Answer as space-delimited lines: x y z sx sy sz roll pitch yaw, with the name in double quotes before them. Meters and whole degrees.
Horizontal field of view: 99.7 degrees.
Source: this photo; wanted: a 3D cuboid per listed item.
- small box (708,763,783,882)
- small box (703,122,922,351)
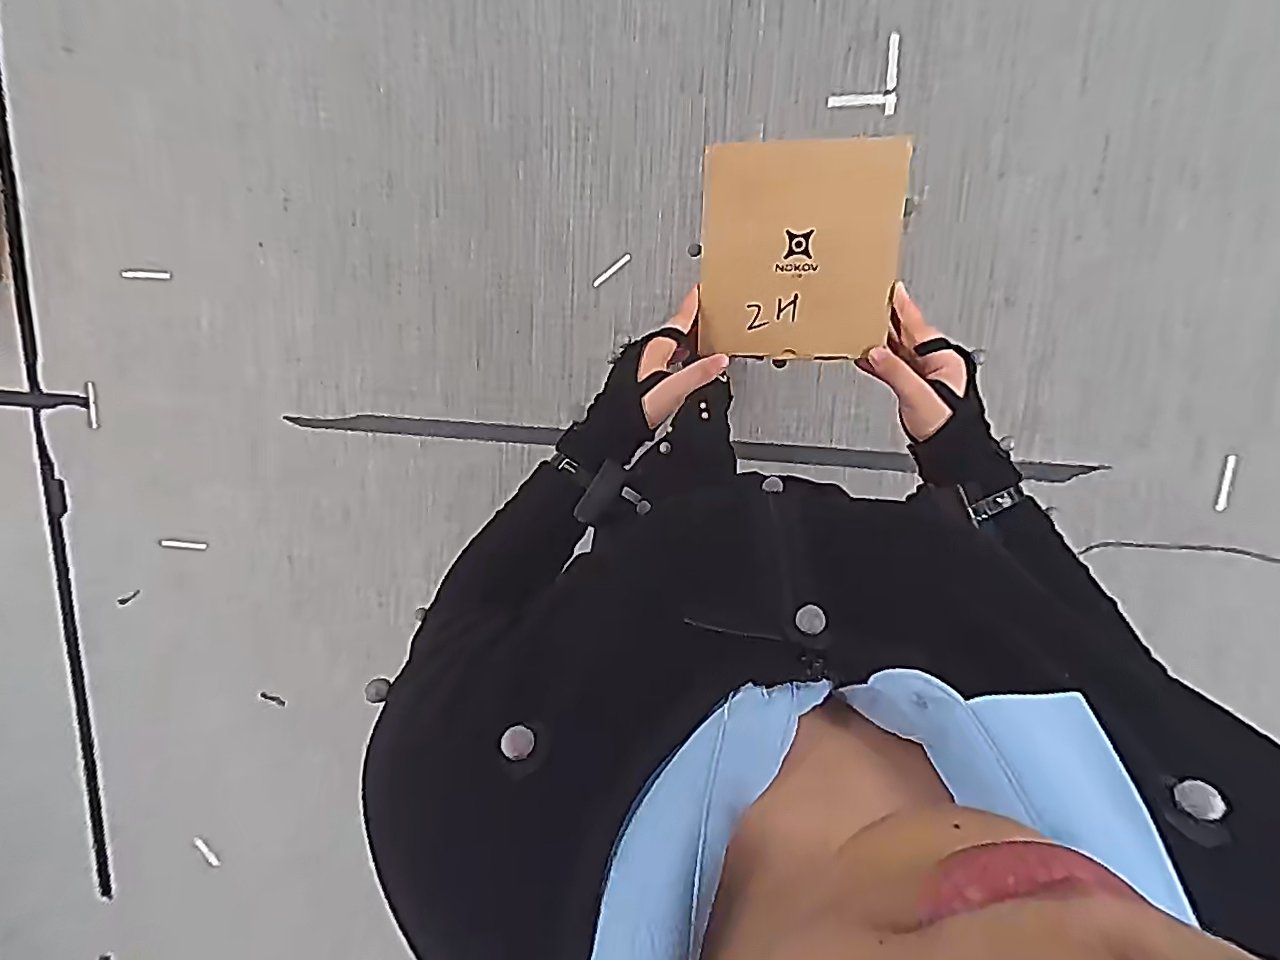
"small box" 0.251 0.822 1.308 0.168 0.176 0.179 -1 98 7
"small box" 0.152 -0.222 0.531 0.168 0.176 0.179 3 108 10
